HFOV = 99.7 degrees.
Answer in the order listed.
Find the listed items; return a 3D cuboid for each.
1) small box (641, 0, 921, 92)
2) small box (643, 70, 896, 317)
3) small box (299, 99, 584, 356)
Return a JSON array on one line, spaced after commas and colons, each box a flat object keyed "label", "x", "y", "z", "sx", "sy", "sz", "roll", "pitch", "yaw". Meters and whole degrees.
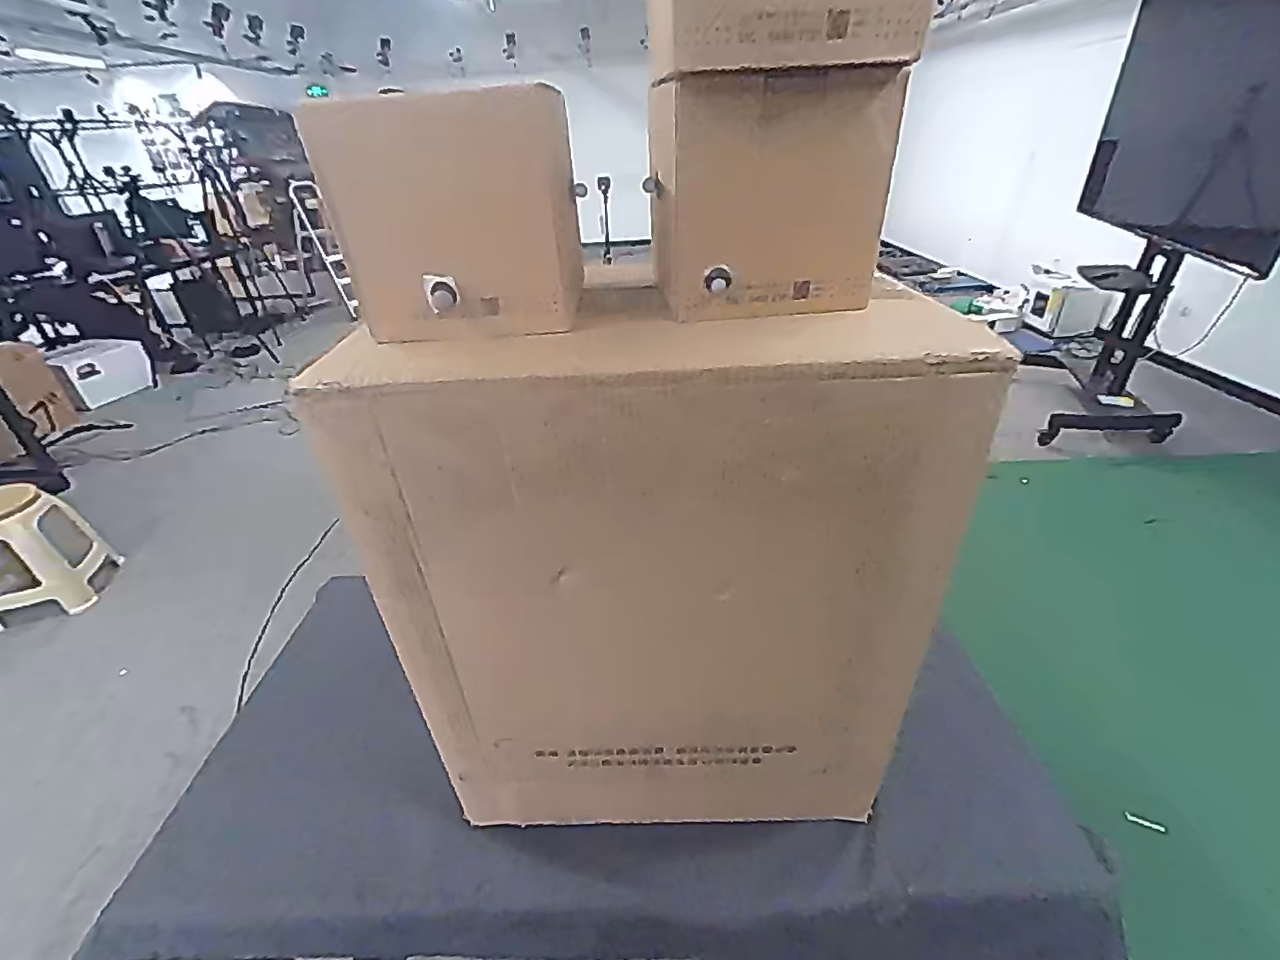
[{"label": "small box", "x": 0.086, "y": -0.373, "z": 0.374, "sx": 0.168, "sy": 0.176, "sz": 0.179, "roll": -5, "pitch": 33, "yaw": -1}, {"label": "small box", "x": 0.096, "y": -0.249, "z": 0.480, "sx": 0.168, "sy": 0.176, "sz": 0.179, "roll": -6, "pitch": 33, "yaw": -3}, {"label": "small box", "x": -0.144, "y": -0.221, "z": 0.472, "sx": 0.168, "sy": 0.176, "sz": 0.179, "roll": -5, "pitch": 35, "yaw": 2}]
